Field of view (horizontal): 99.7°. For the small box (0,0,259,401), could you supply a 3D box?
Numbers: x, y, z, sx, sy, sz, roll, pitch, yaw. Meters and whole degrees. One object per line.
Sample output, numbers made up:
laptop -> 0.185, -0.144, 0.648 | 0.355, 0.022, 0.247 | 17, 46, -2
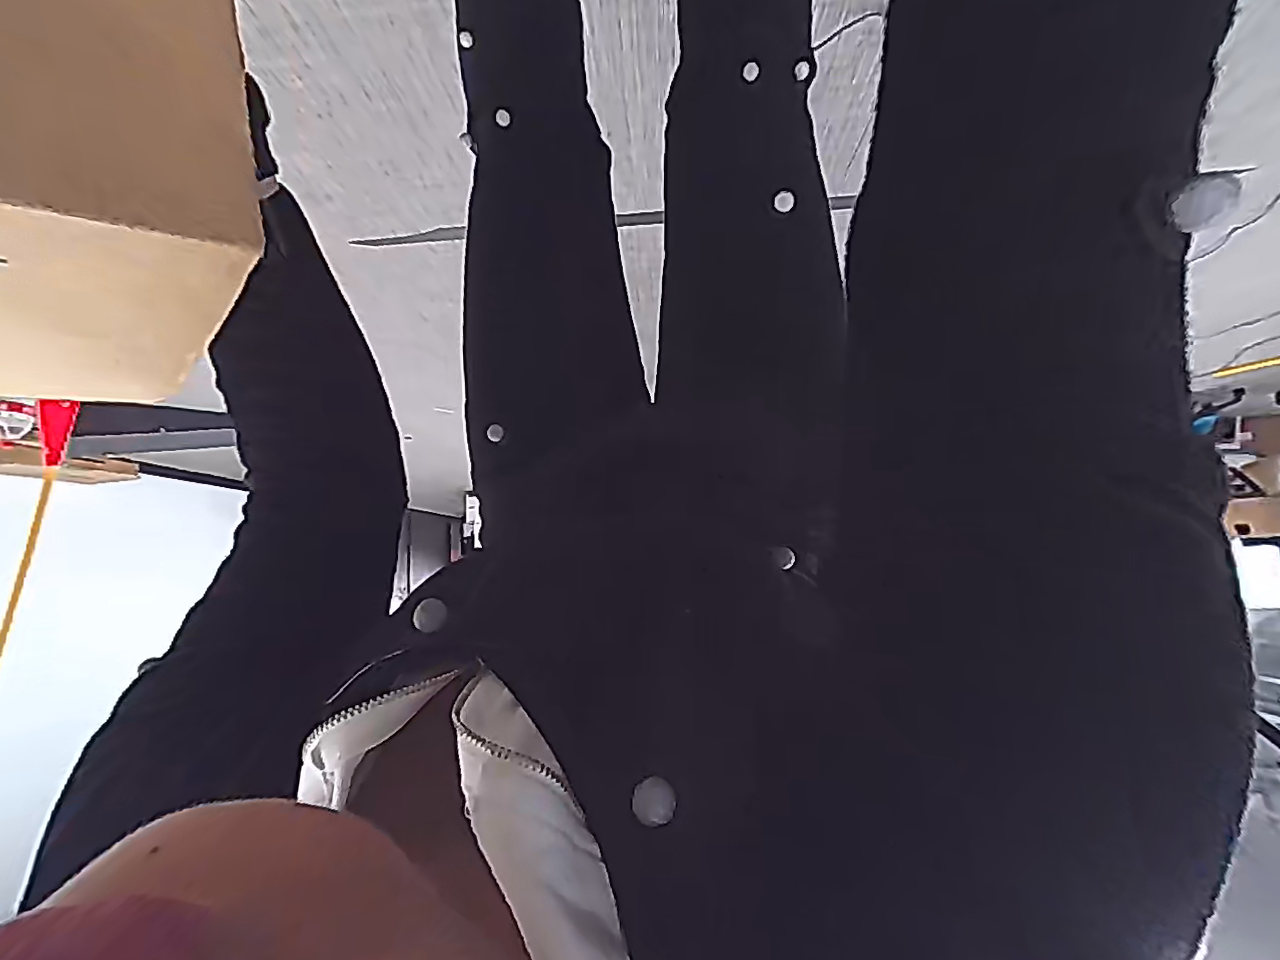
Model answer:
small box -> -0.210, -0.118, 0.119 | 0.179, 0.176, 0.168 | -6, -179, 42
